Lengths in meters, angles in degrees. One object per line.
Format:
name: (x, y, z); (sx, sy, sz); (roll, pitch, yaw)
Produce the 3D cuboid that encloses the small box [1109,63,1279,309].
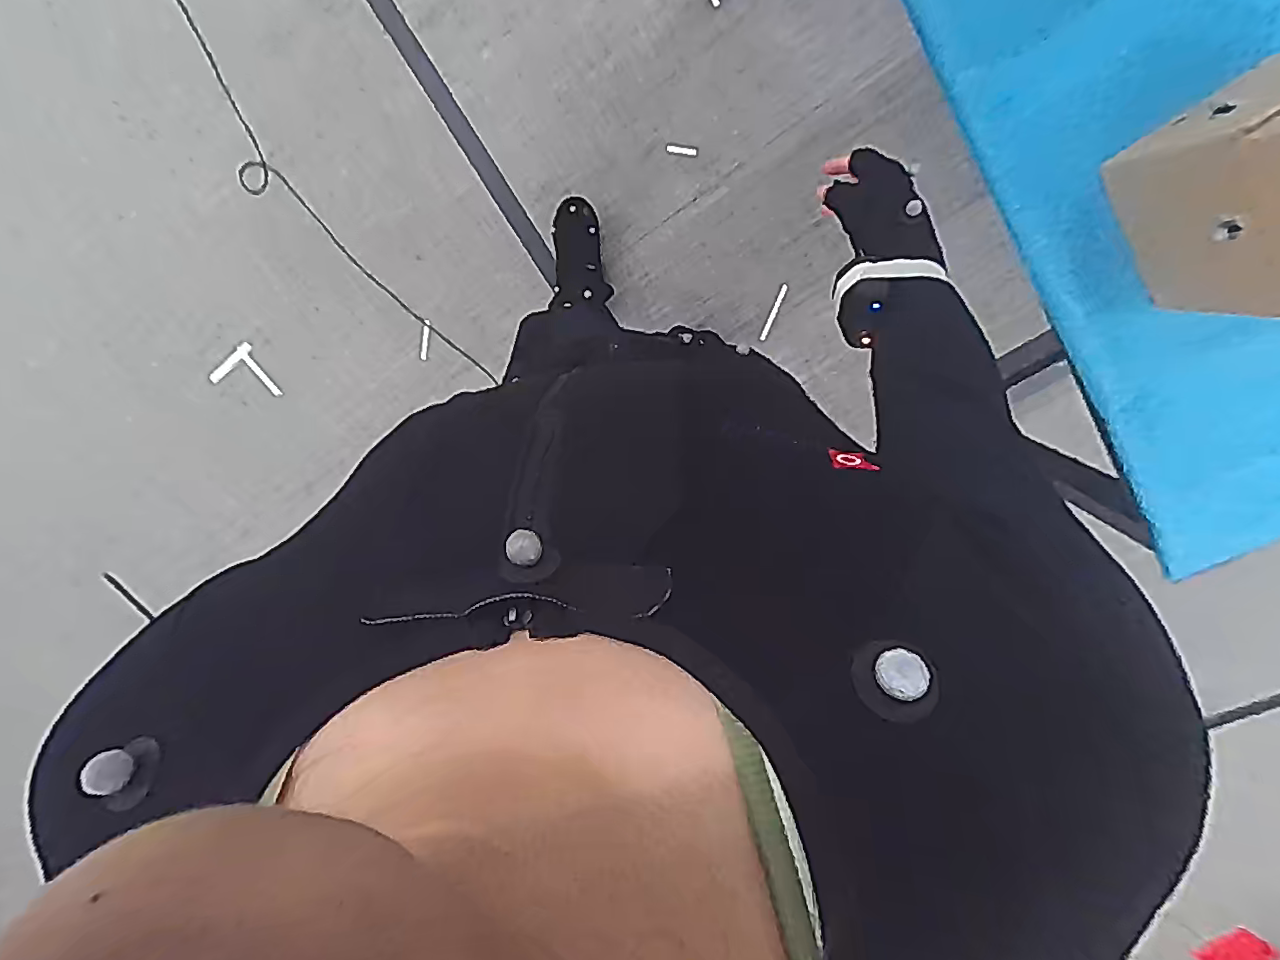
small box: (0.579, -0.267, 0.481); (0.168, 0.176, 0.179); (-31, 104, 17)
